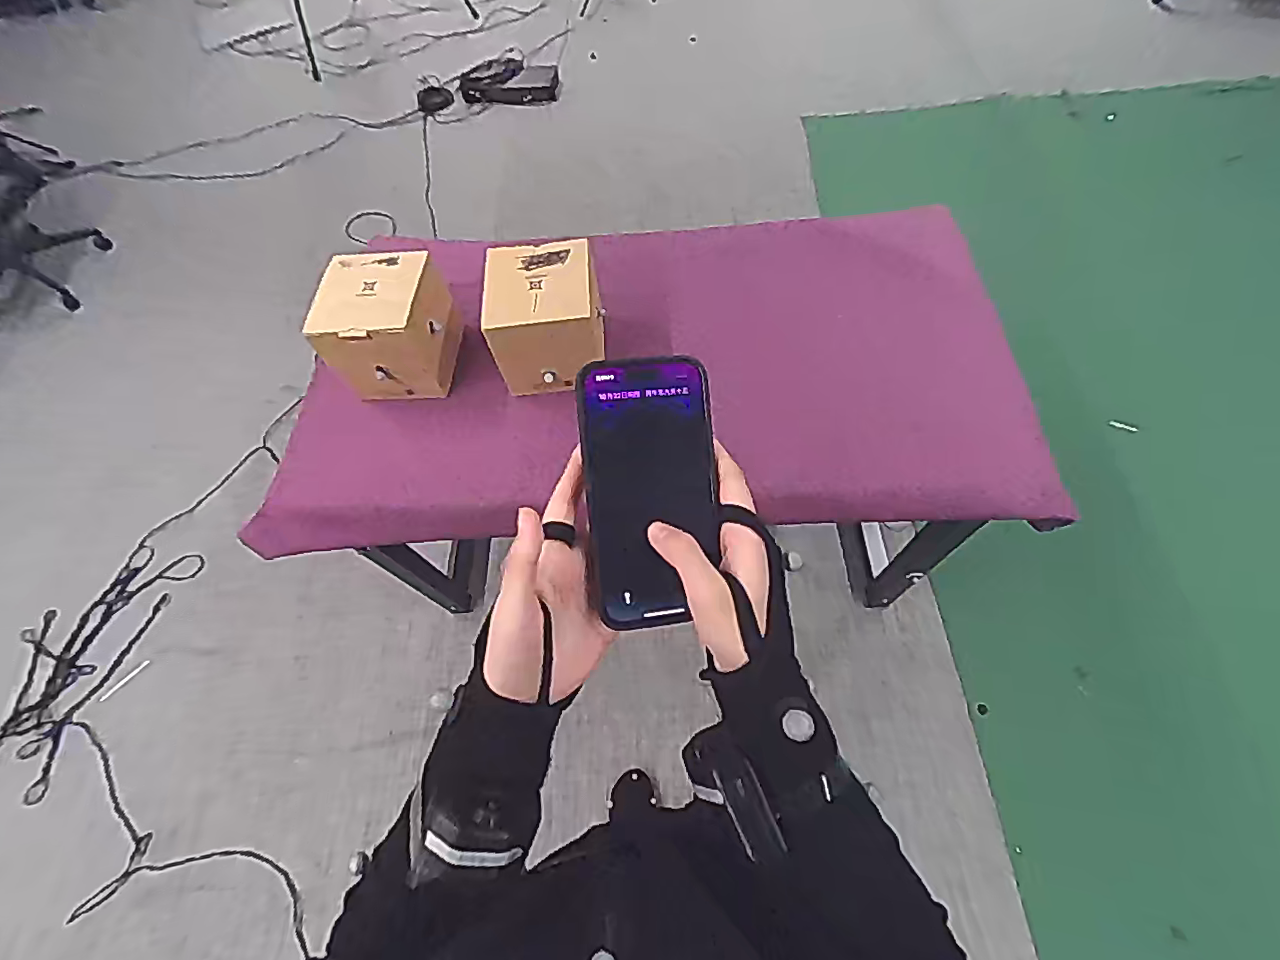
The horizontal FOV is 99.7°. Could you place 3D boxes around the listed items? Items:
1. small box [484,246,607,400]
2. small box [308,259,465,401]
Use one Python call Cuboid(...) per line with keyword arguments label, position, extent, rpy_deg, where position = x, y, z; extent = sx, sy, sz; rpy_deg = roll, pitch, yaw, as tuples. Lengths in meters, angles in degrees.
Cuboid(label="small box", position=(-0.149, -0.257, 0.904), extent=(0.168, 0.176, 0.179), rpy_deg=(-6, 61, 2))
Cuboid(label="small box", position=(-0.416, -0.247, 0.924), extent=(0.168, 0.176, 0.179), rpy_deg=(-1, 62, 5))
